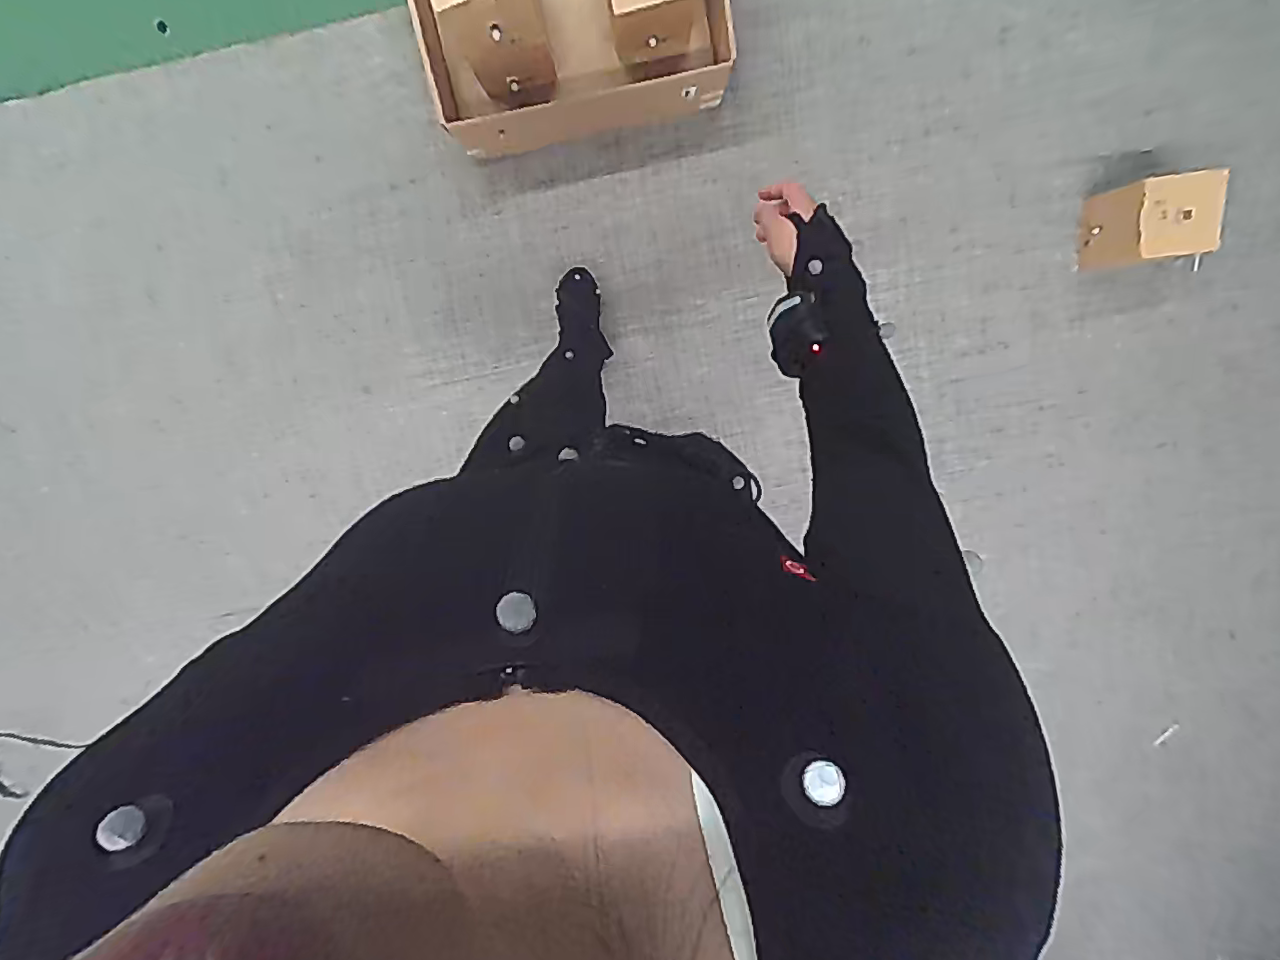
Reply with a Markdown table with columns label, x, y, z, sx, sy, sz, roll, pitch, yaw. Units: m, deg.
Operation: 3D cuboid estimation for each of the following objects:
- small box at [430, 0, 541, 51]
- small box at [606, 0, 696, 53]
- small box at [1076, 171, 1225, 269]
| label | x | y | z | sx | sy | sz | roll | pitch | yaw |
| --- | --- | --- | --- | --- | --- | --- | --- | --- | --- |
| small box | -0.282 | -0.889 | 0.937 | 0.168 | 0.176 | 0.179 | -14 | 105 | 3 |
| small box | 0.010 | -1.007 | 1.078 | 0.168 | 0.176 | 0.179 | -12 | 106 | 4 |
| small box | 1.163 | -0.591 | 1.245 | 0.179 | 0.176 | 0.168 | -6 | 104 | 1 |
